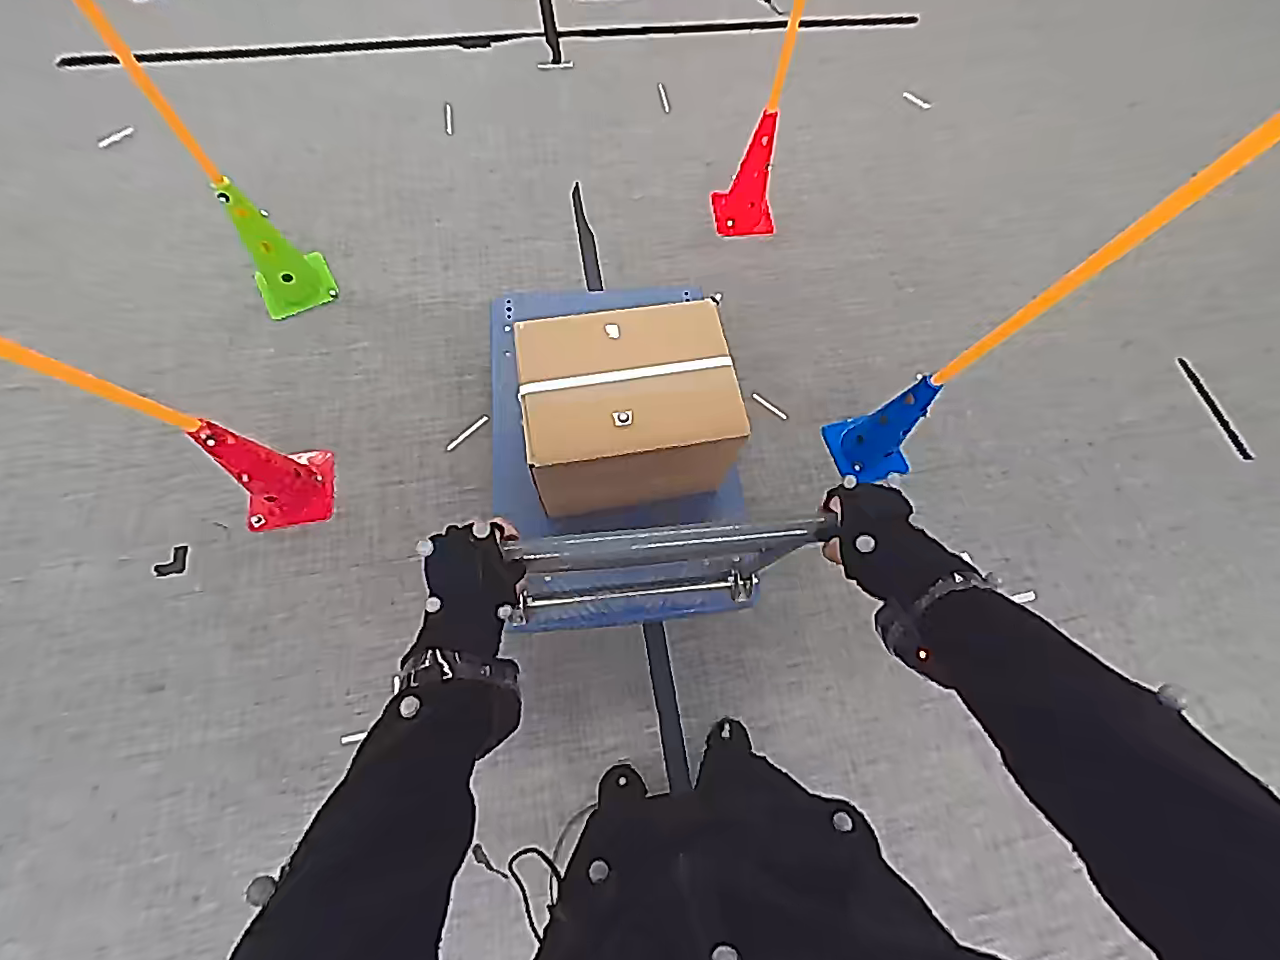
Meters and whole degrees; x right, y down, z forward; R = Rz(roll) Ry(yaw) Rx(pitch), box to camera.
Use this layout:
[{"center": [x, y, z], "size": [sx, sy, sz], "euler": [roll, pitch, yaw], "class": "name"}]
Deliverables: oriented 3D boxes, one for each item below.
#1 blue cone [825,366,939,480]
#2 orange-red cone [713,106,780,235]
[{"center": [0.650, -0.161, 1.385], "size": [0.193, 0.380, 0.192], "euler": [-12, 68, -9], "class": "blue cone"}, {"center": [0.365, -0.974, 1.681], "size": [0.199, 0.360, 0.198], "euler": [-2, 69, -6], "class": "orange-red cone"}]
